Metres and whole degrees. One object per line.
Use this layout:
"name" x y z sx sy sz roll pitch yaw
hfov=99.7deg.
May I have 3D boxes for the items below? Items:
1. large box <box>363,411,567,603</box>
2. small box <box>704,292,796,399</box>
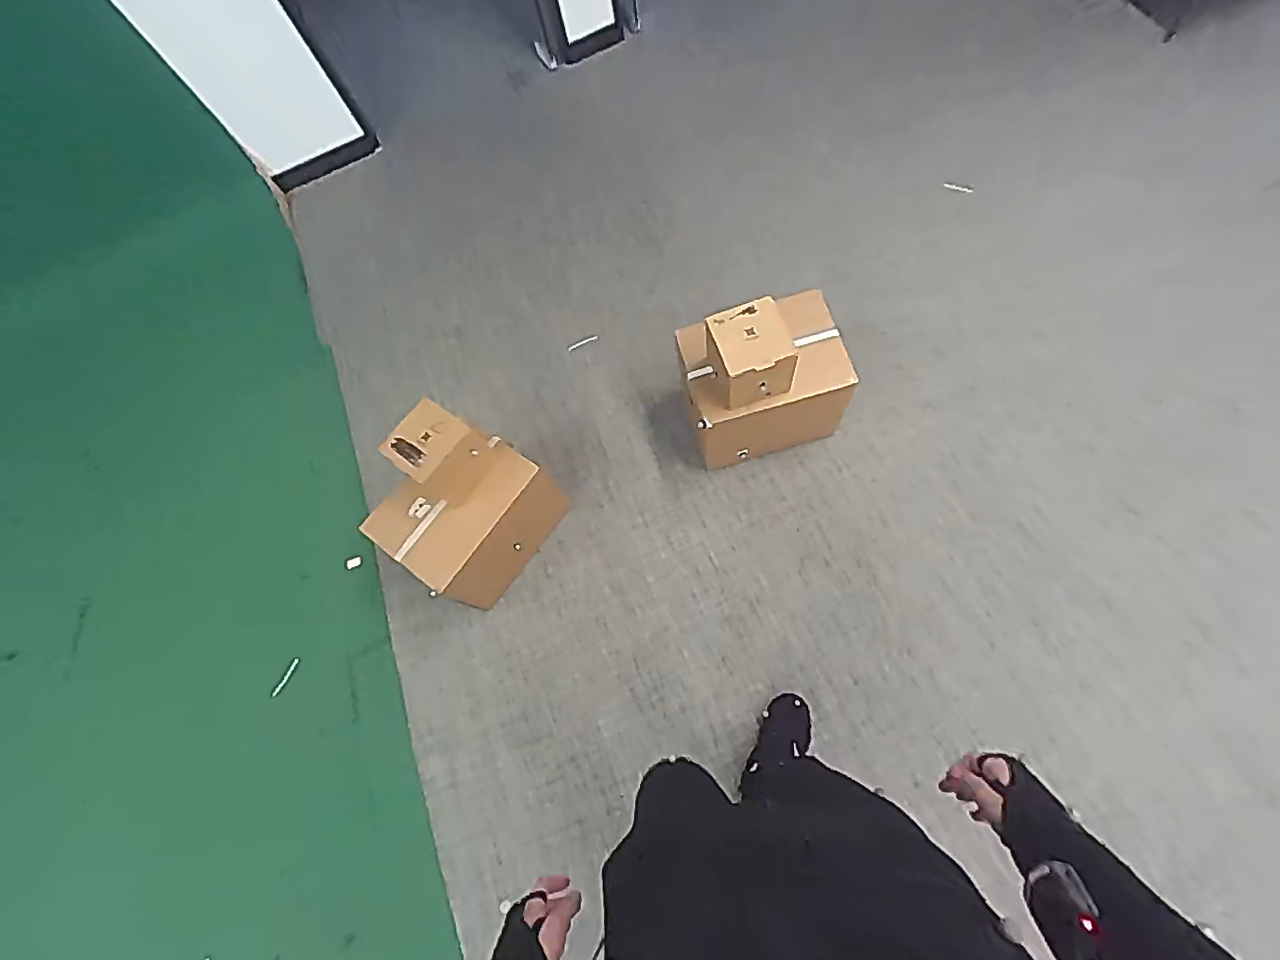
"large box" -0.474 0.087 1.546 0.320 0.320 0.408 32 78 19
"small box" 0.263 -0.316 1.316 0.168 0.176 0.179 -18 70 2
